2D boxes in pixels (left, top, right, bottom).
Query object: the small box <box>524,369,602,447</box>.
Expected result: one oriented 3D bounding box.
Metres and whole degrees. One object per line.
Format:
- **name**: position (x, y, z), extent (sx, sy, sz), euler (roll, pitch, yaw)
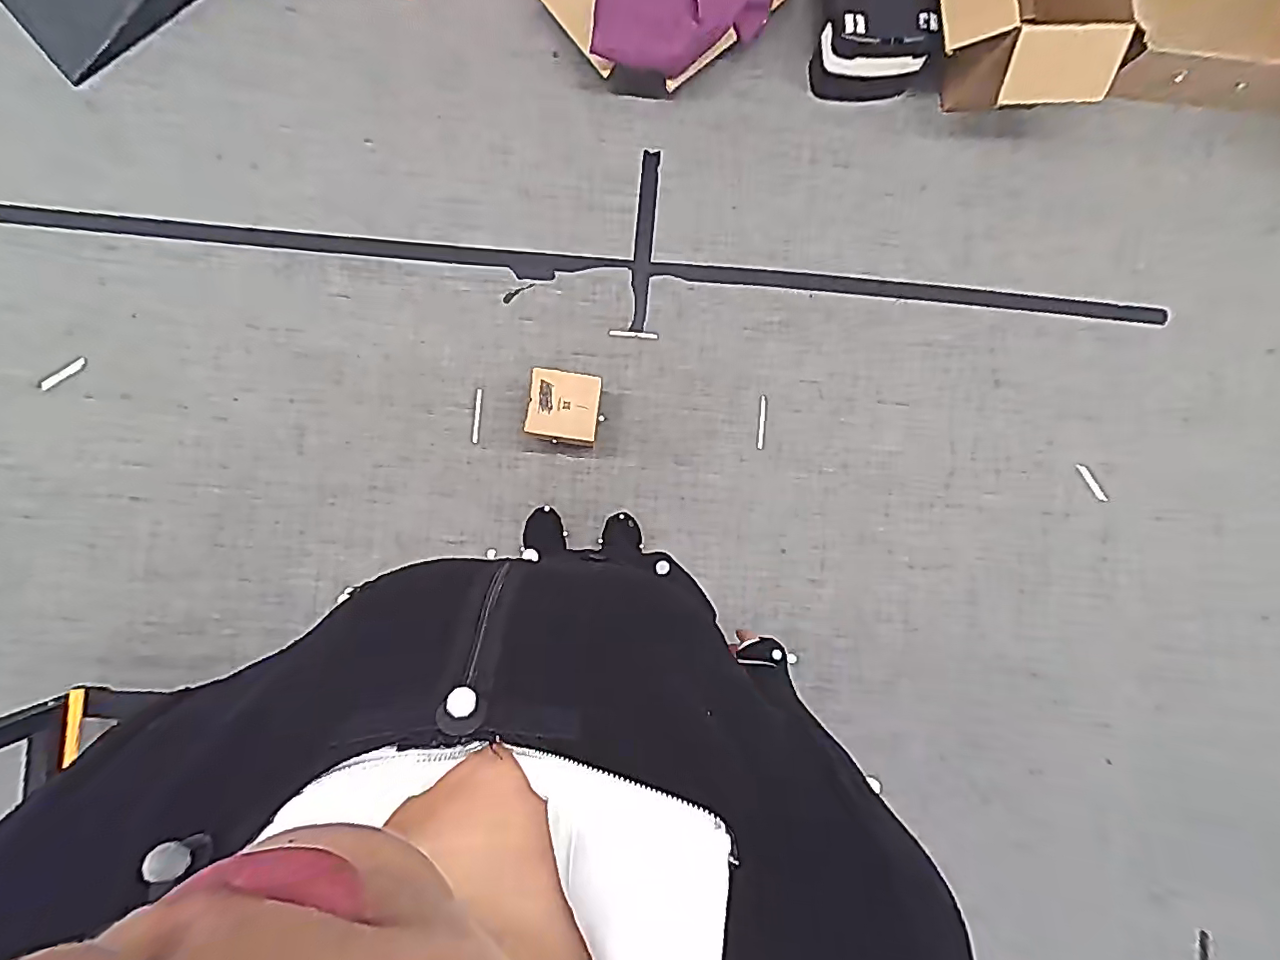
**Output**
- **small box**: position (-0.197, -0.184, 1.432), extent (0.179, 0.176, 0.168), euler (8, 88, -4)
